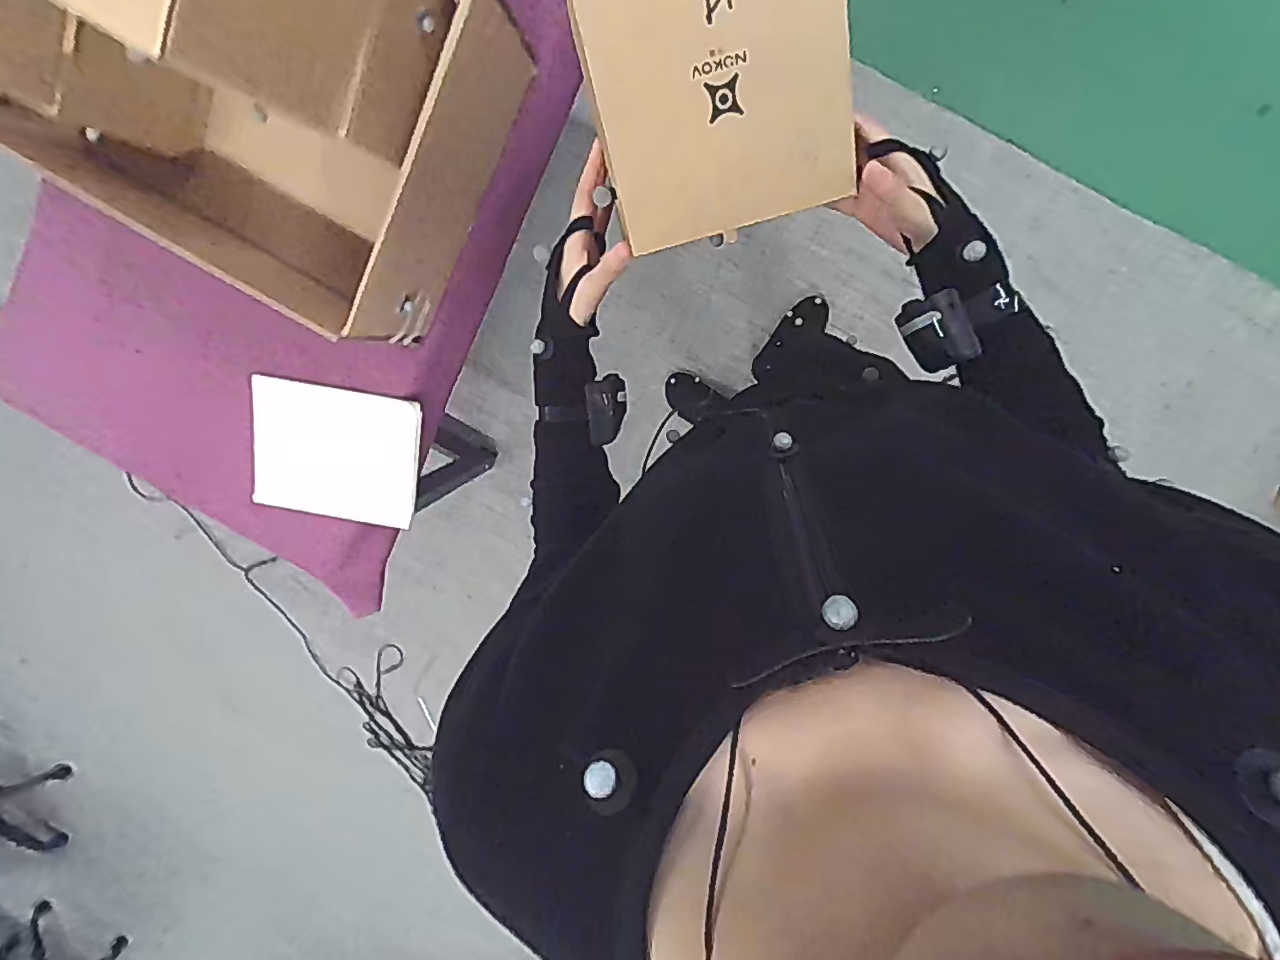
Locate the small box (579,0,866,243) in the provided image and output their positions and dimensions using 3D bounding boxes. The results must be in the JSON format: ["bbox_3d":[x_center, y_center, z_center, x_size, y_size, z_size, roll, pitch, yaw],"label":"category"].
[{"bbox_3d":[0.054,-0.296,0.411,0.168,0.176,0.179,-14,116,2],"label":"small box"}]

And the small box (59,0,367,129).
[{"bbox_3d":[-0.335,-0.410,0.404,0.168,0.176,0.179,30,106,0],"label":"small box"}]
